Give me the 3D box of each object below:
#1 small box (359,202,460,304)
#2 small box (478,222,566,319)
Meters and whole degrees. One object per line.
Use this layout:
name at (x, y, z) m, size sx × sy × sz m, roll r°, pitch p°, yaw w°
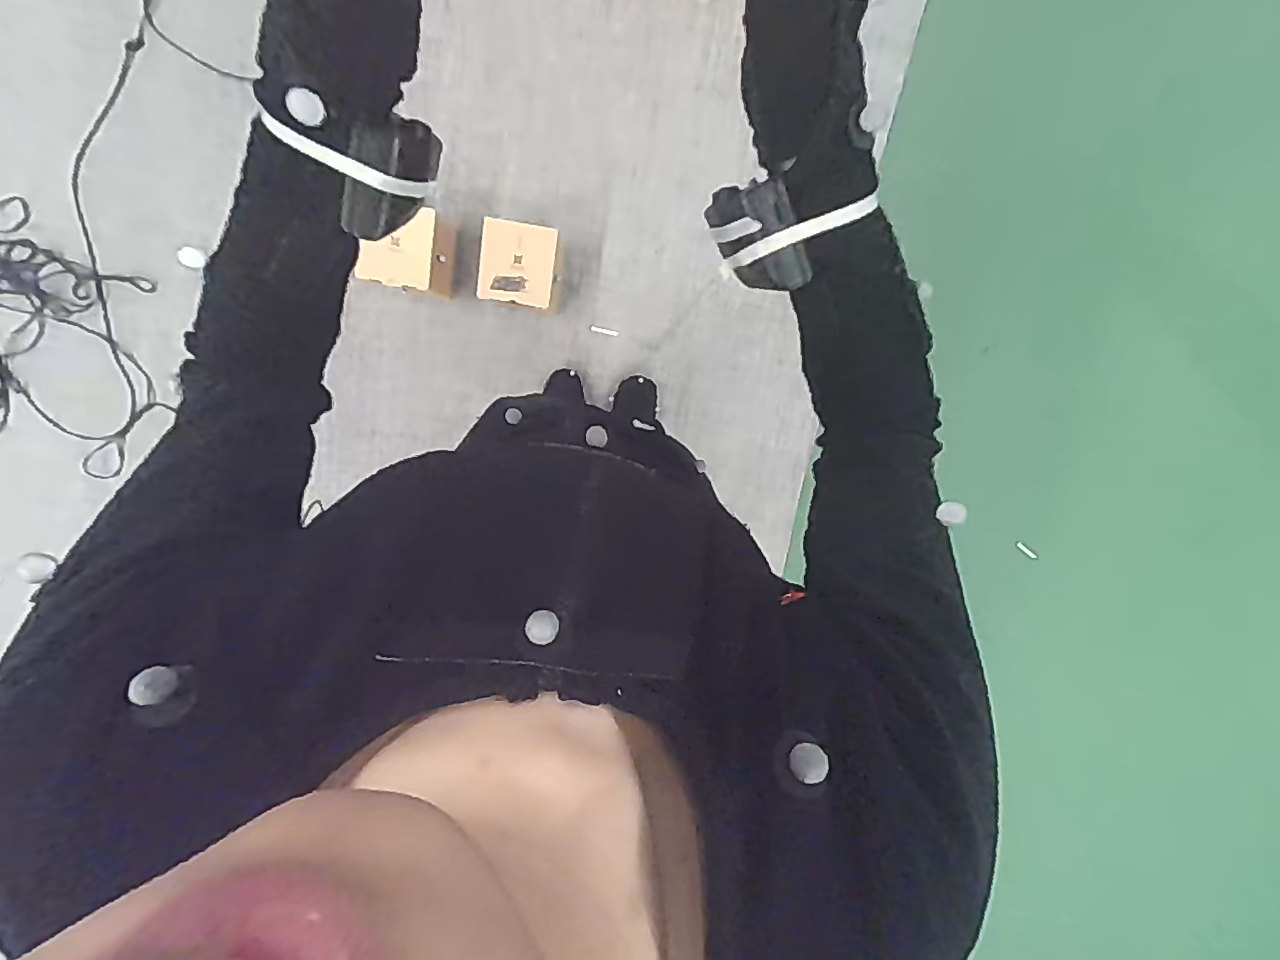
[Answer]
small box at (-0.538, -0.527, 1.280) m, size 0.168 × 0.176 × 0.179 m, roll 9°, pitch 101°, yaw -3°
small box at (-0.274, -0.489, 1.291) m, size 0.168 × 0.176 × 0.179 m, roll 9°, pitch 100°, yaw -3°
